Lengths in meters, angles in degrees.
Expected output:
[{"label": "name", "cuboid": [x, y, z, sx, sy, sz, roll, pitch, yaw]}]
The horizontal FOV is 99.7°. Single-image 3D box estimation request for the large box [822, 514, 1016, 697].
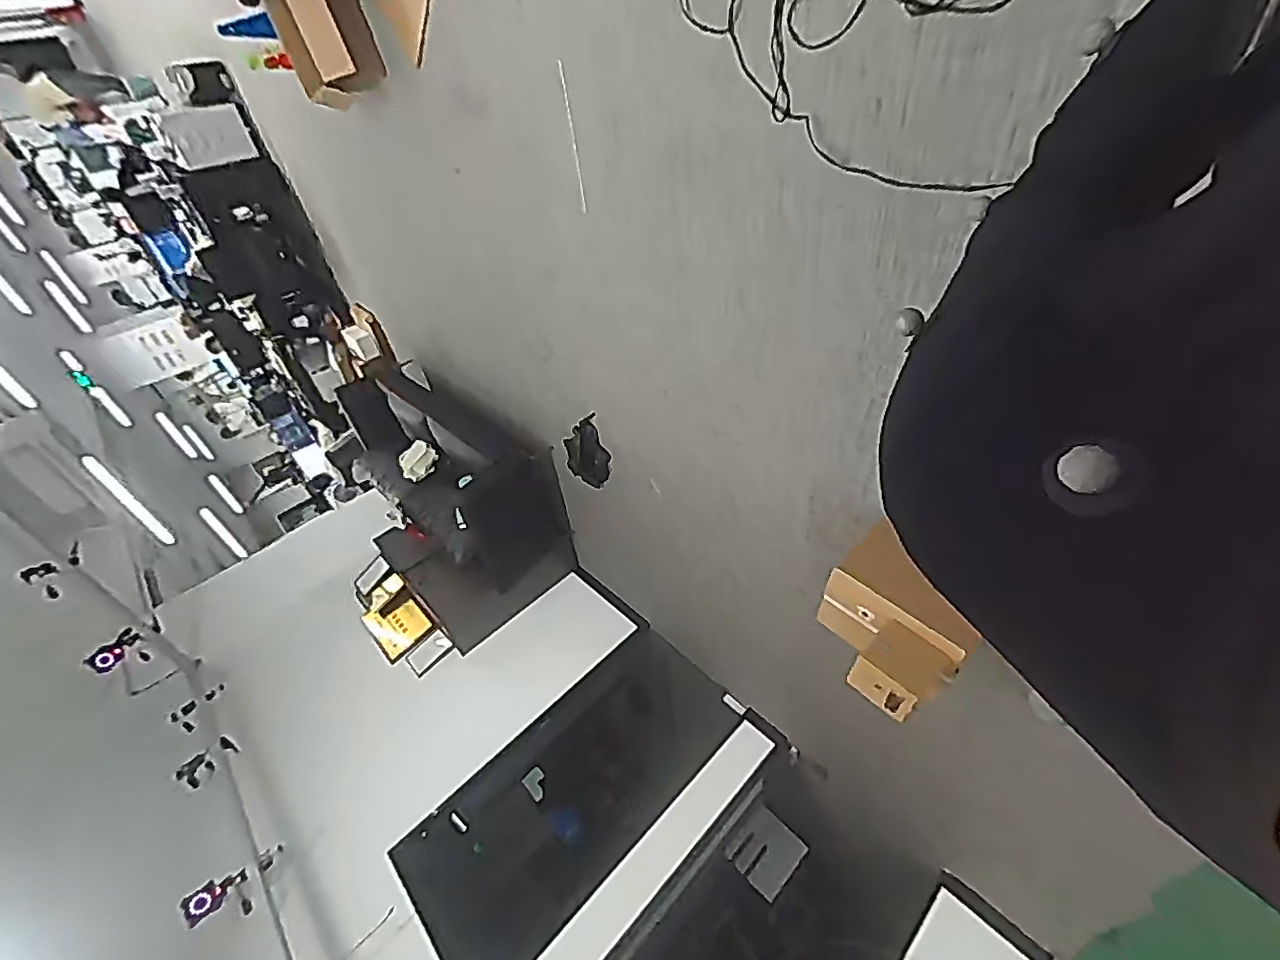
[{"label": "large box", "cuboid": [0.857, 0.382, 1.699, 0.408, 0.320, 0.320, 36, 147, 33]}]
